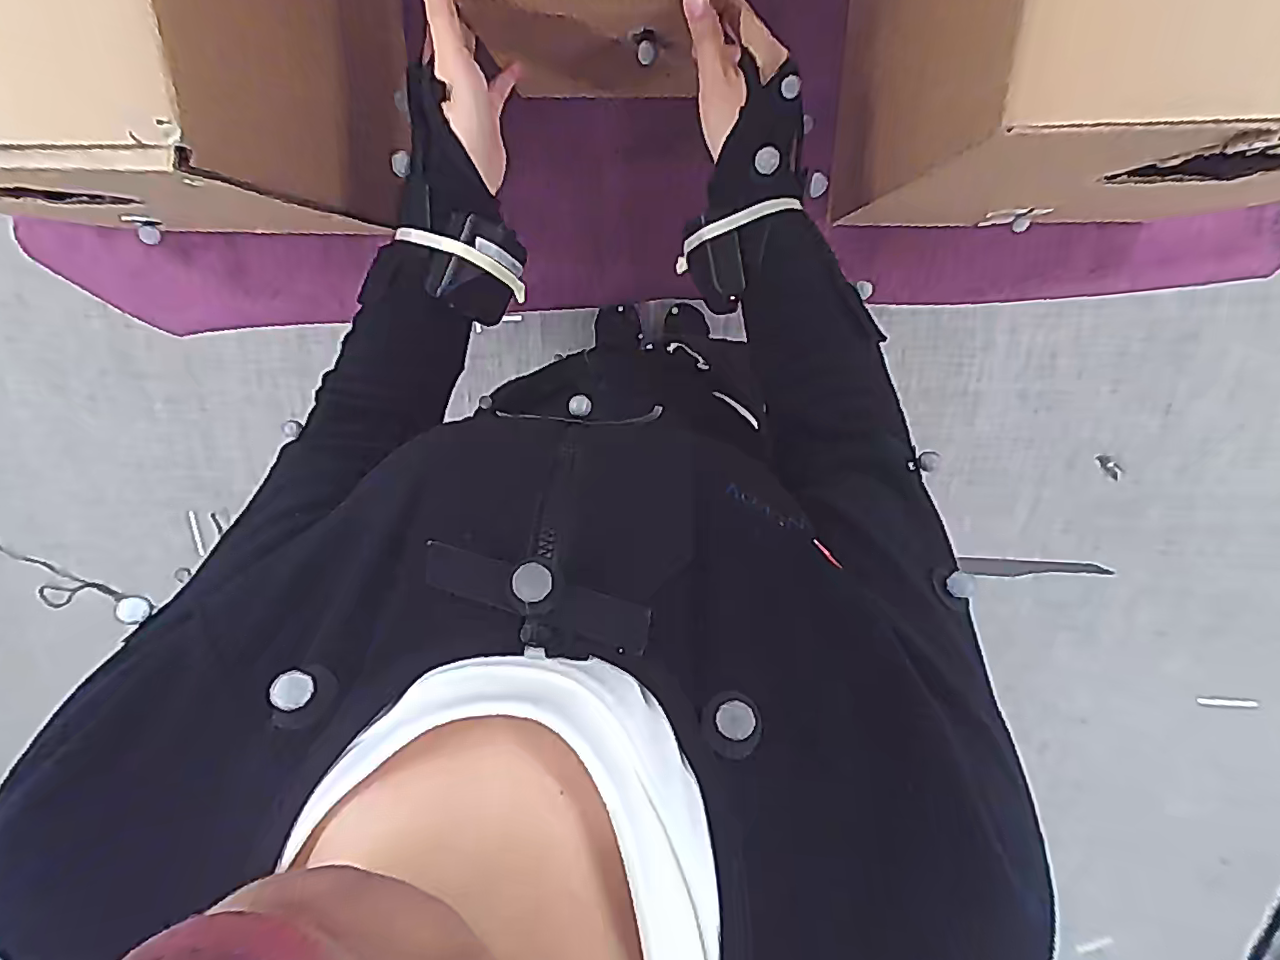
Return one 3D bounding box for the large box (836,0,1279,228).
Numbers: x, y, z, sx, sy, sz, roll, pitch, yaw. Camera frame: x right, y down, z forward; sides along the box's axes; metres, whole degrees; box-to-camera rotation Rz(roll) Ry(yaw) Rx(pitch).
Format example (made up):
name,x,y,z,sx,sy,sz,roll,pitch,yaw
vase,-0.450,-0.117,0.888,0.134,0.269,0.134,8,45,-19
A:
name,x,y,z,sx,sy,sz,roll,pitch,yaw
large box,0.324,-0.394,0.322,0.320,0.320,0.408,0,107,3
